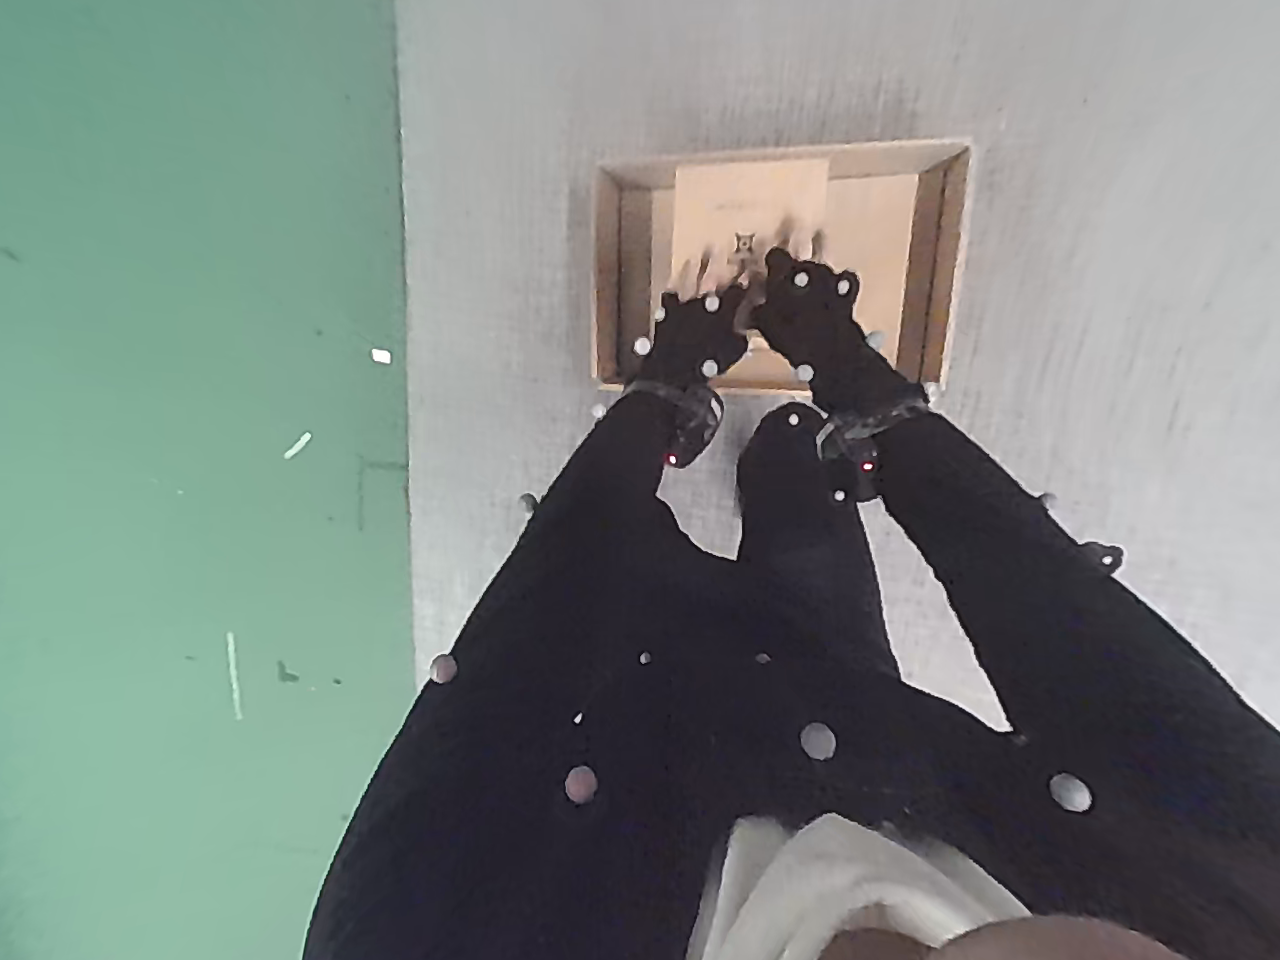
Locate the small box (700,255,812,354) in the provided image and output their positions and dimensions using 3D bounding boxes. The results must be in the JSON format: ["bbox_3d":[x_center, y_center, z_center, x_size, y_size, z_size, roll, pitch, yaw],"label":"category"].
[{"bbox_3d":[0.219,-0.328,1.016,0.179,0.176,0.168,8,102,14],"label":"small box"}]

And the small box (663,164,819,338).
[{"bbox_3d":[0.129,-0.276,0.690,0.168,0.176,0.179,5,101,12],"label":"small box"}]
